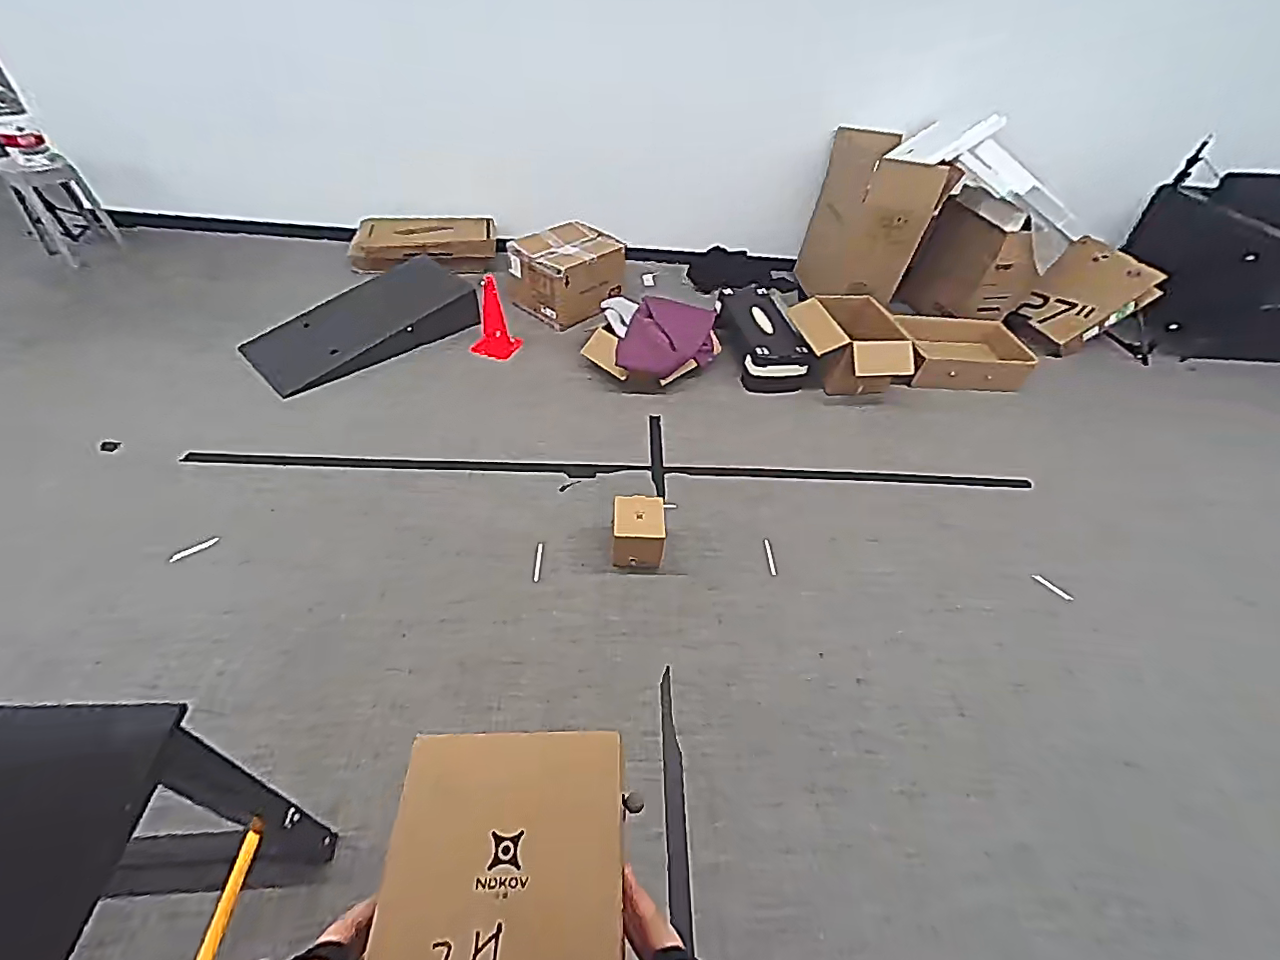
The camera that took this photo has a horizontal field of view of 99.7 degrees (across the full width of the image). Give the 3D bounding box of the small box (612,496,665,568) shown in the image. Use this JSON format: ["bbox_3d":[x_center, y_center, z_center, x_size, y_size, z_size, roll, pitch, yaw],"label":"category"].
[{"bbox_3d":[-0.009,0.176,1.821,0.168,0.176,0.179,1,47,-4],"label":"small box"}]

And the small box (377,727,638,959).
[{"bbox_3d":[-0.087,0.318,0.439,0.168,0.176,0.179,-2,51,0],"label":"small box"}]
